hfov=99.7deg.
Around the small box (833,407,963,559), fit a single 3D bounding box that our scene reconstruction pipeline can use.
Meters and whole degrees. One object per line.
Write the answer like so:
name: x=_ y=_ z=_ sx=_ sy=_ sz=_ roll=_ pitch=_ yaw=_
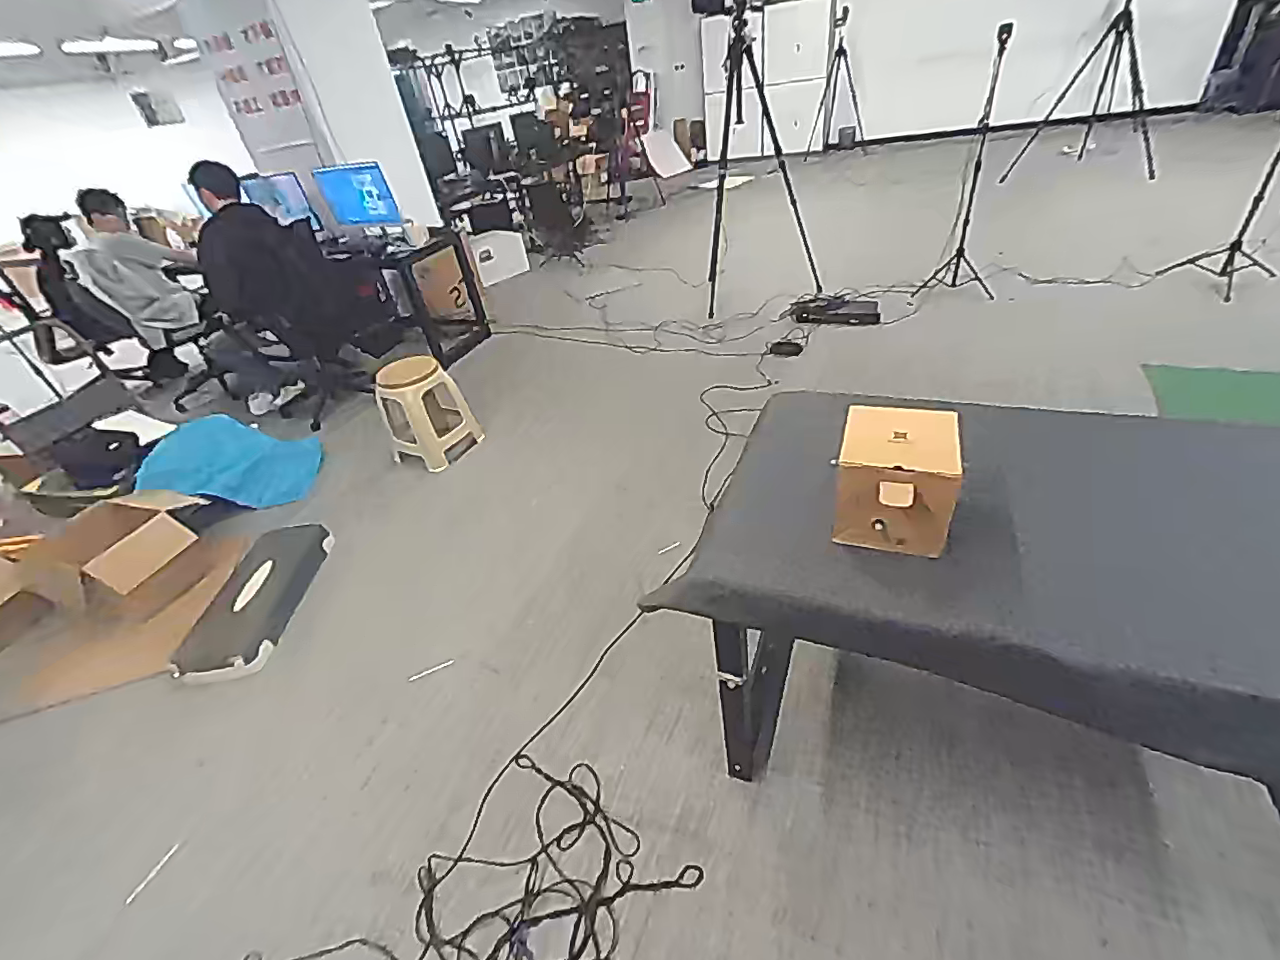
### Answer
small box: x=0.419 y=0.001 z=0.892 sx=0.168 sy=0.176 sz=0.179 roll=8 pitch=40 yaw=22
